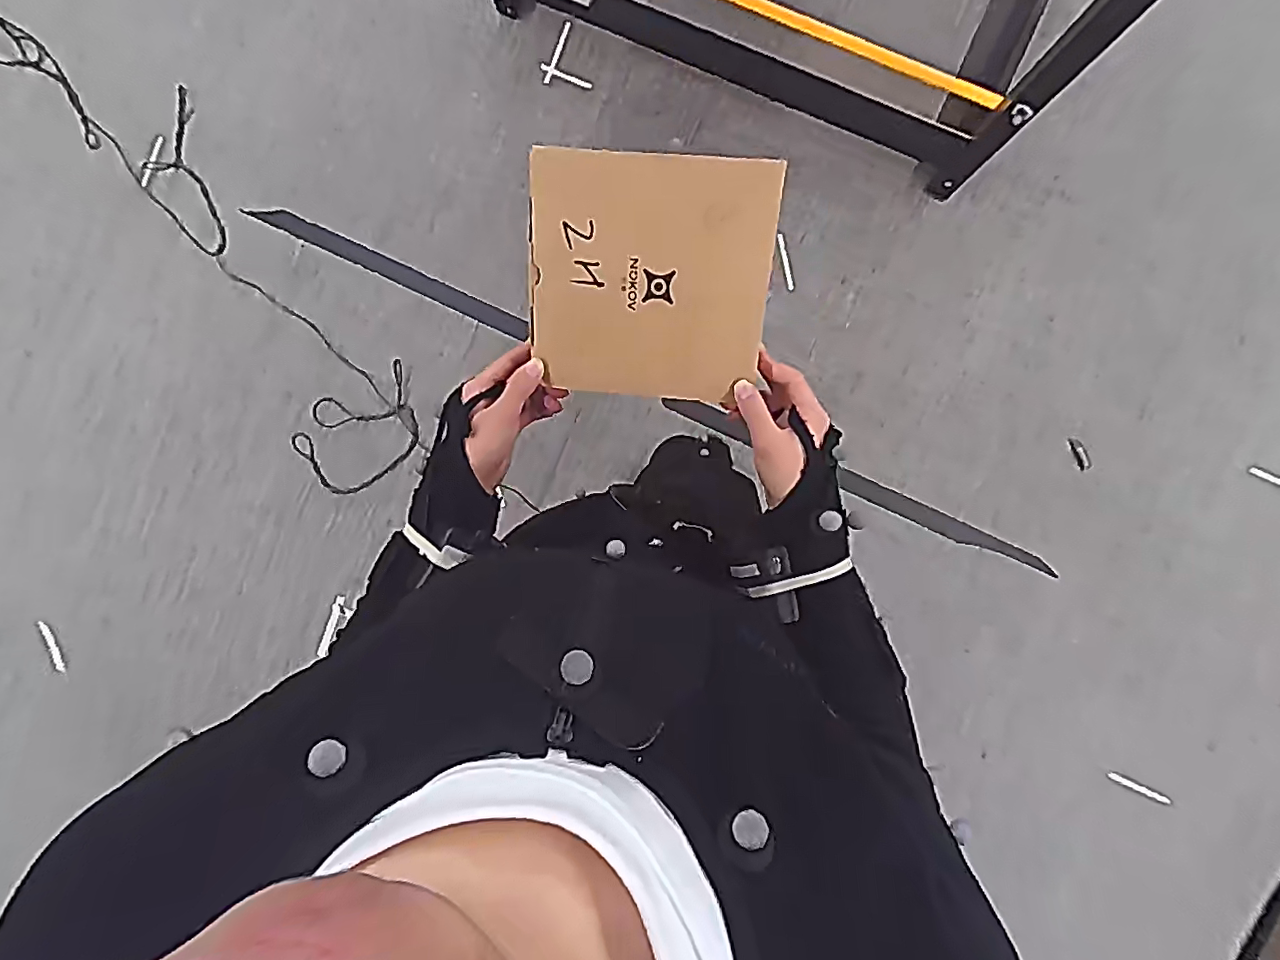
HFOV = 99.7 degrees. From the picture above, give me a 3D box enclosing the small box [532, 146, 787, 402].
[{"bbox_3d":[0.014,-0.173,0.468,0.179,0.176,0.168,6,112,4],"label":"small box"}]
